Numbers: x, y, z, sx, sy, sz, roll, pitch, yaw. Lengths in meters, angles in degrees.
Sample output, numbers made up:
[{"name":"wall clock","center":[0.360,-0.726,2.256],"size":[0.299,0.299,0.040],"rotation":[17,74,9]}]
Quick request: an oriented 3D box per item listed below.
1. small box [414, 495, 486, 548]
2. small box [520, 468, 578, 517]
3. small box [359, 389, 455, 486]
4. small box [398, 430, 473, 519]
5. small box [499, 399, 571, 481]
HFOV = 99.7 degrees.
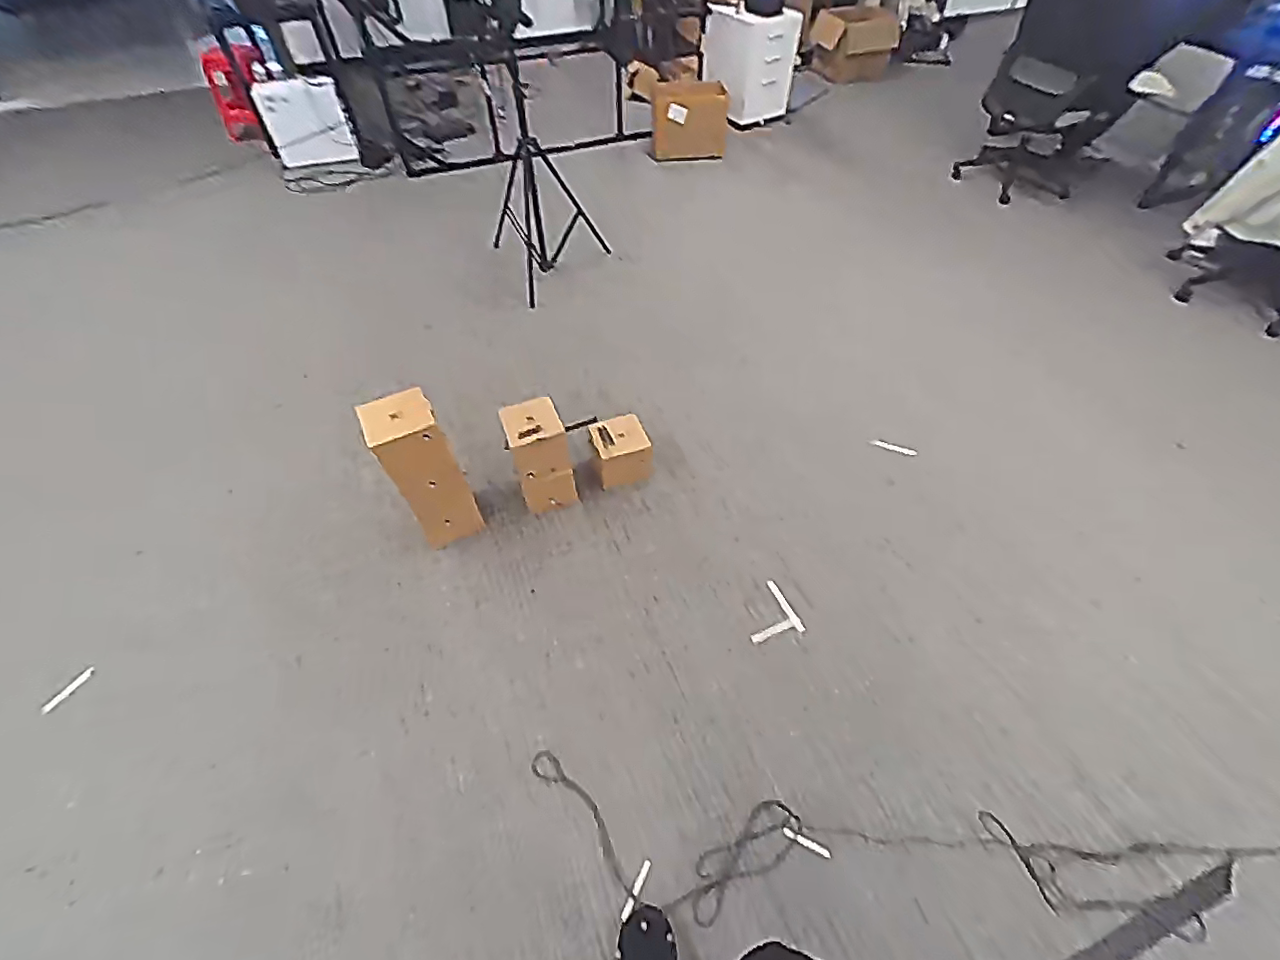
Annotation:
[{"name":"small box","center":[-0.619,0.089,1.727],"size":[0.179,0.176,0.168],"rotation":[-25,56,-17]},{"name":"small box","center":[-0.313,-0.007,1.799],"size":[0.168,0.176,0.179],"rotation":[-16,53,-11]},{"name":"small box","center":[-0.628,-0.110,1.469],"size":[0.179,0.176,0.168],"rotation":[-24,56,-17]},{"name":"small box","center":[-0.618,-0.013,1.600],"size":[0.179,0.176,0.168],"rotation":[-23,56,-18]},{"name":"small box","center":[-0.321,-0.116,1.675],"size":[0.168,0.176,0.179],"rotation":[-18,53,-14]}]
